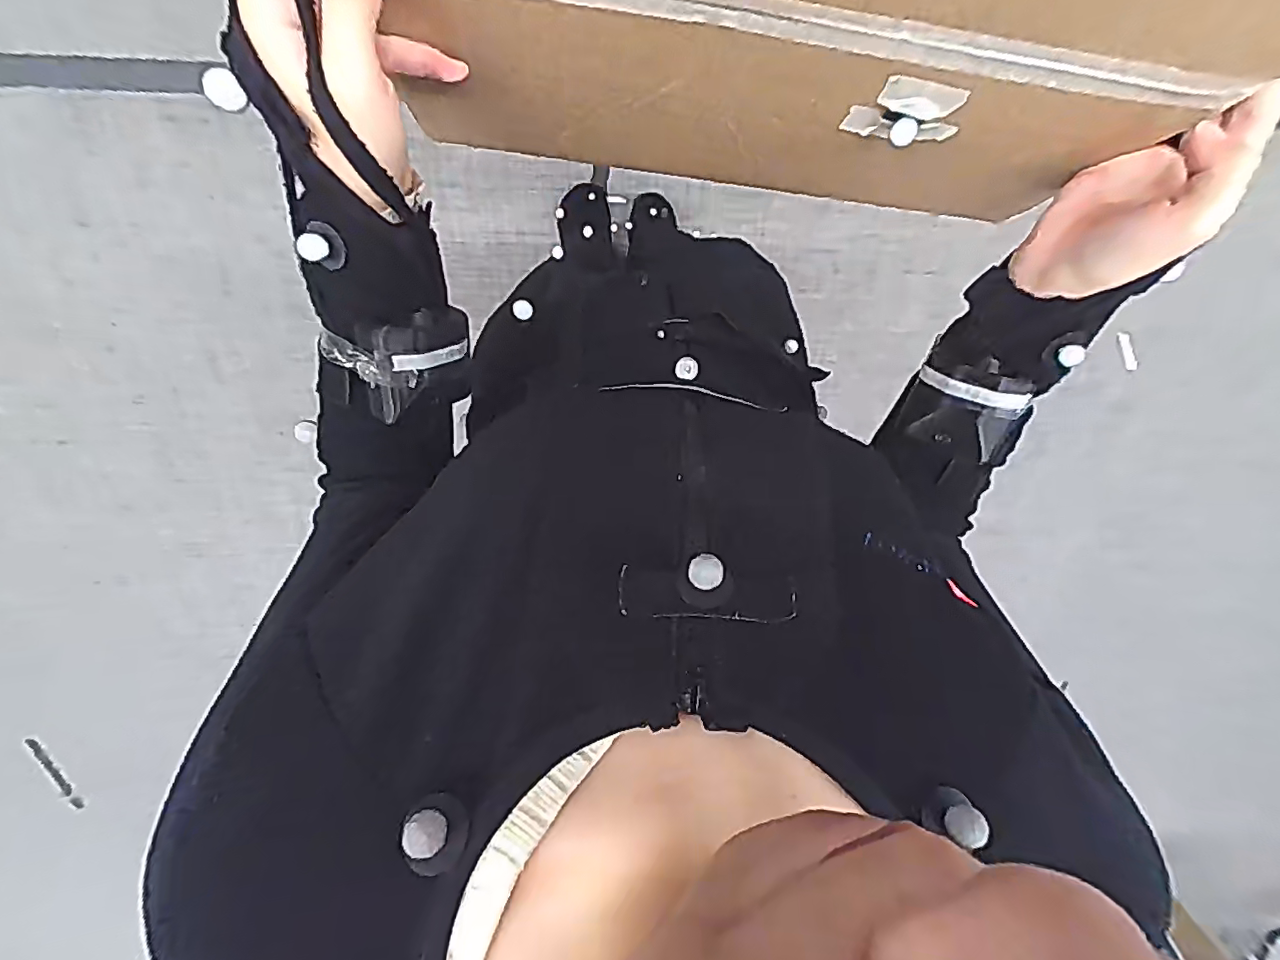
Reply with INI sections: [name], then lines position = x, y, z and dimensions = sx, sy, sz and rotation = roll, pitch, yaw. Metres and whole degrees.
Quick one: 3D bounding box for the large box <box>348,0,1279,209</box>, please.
[large box]
position = 0.079, -0.347, 0.214
dimensions = 0.408, 0.320, 0.320
rotation = 4, 96, -6
